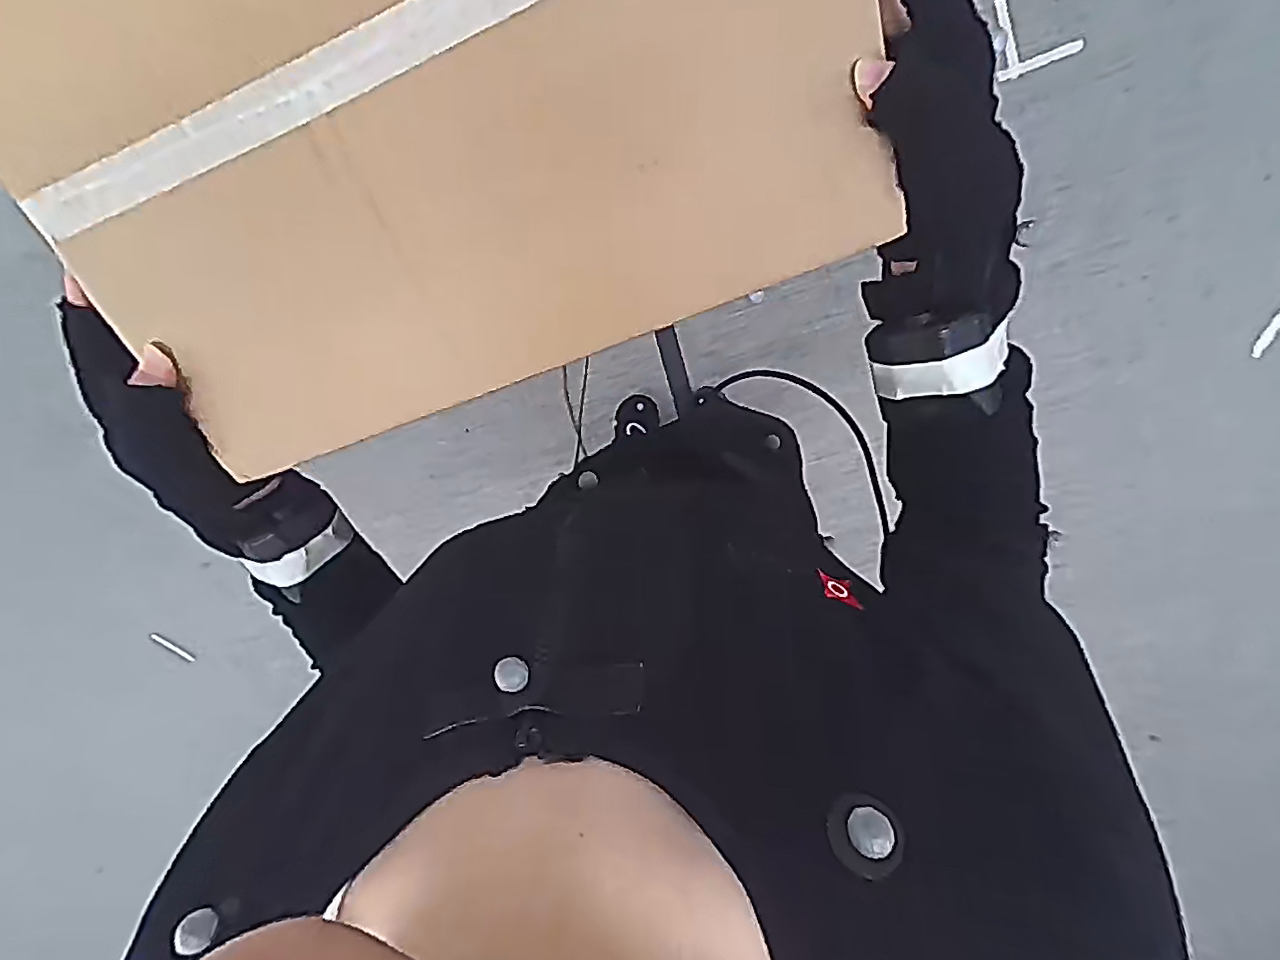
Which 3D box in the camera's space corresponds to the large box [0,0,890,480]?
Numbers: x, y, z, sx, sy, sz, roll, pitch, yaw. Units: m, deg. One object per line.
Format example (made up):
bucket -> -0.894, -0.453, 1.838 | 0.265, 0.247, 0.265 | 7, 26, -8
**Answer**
large box -> -0.105, -0.256, 0.384 | 0.408, 0.320, 0.320 | -19, 114, 10
